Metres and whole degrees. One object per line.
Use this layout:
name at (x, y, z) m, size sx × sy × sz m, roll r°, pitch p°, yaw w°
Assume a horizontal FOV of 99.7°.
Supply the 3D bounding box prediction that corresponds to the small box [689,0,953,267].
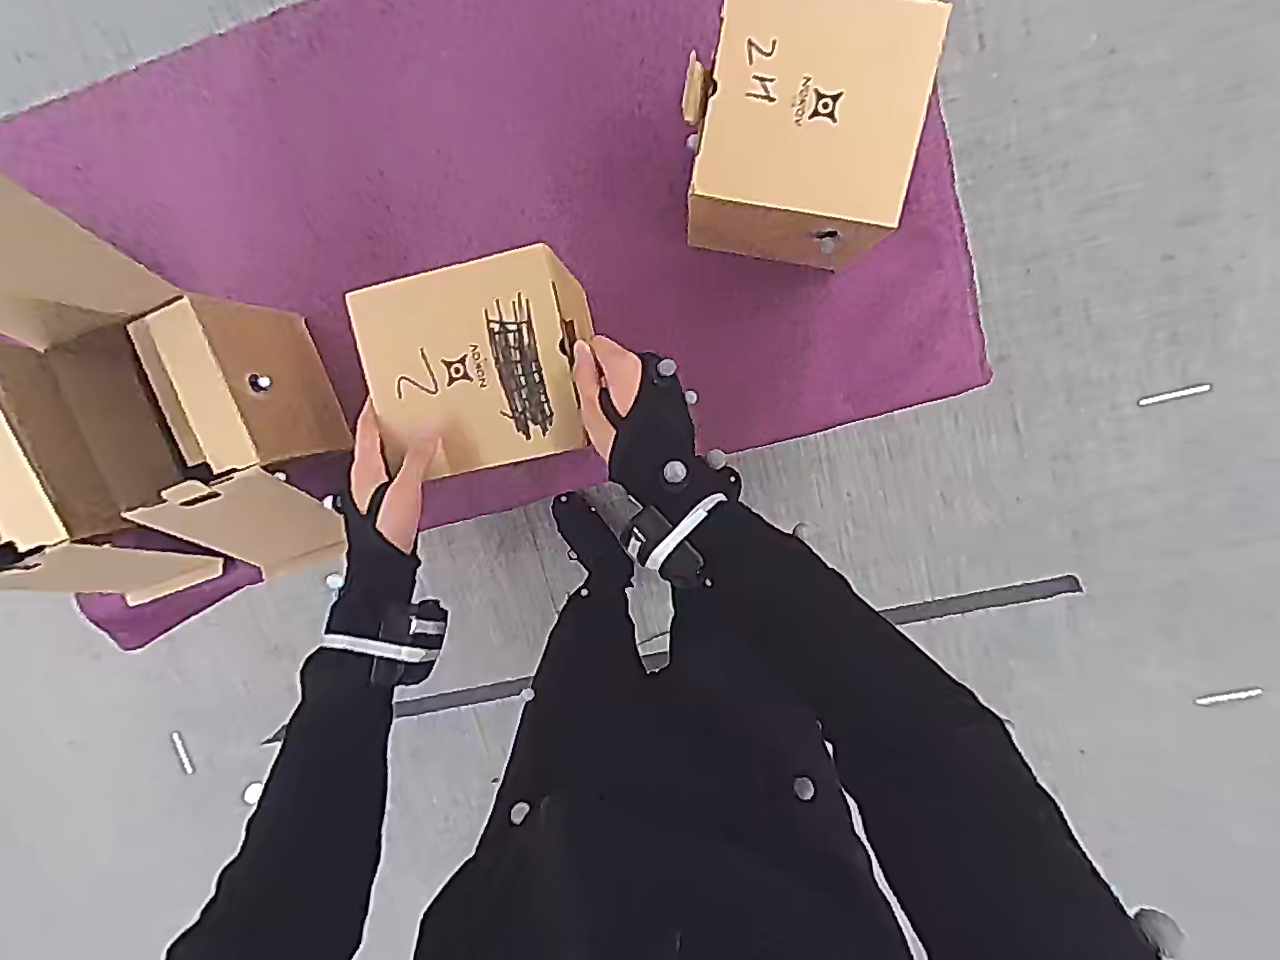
small box at (0.148, -0.312, 0.510) m, size 0.179 × 0.176 × 0.168 m, roll 12°, pitch 100°, yaw 3°

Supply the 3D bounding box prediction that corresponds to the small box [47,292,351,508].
small box at (-0.464, -0.088, 0.602) m, size 0.168 × 0.176 × 0.179 m, roll -17°, pitch 98°, yaw 6°
